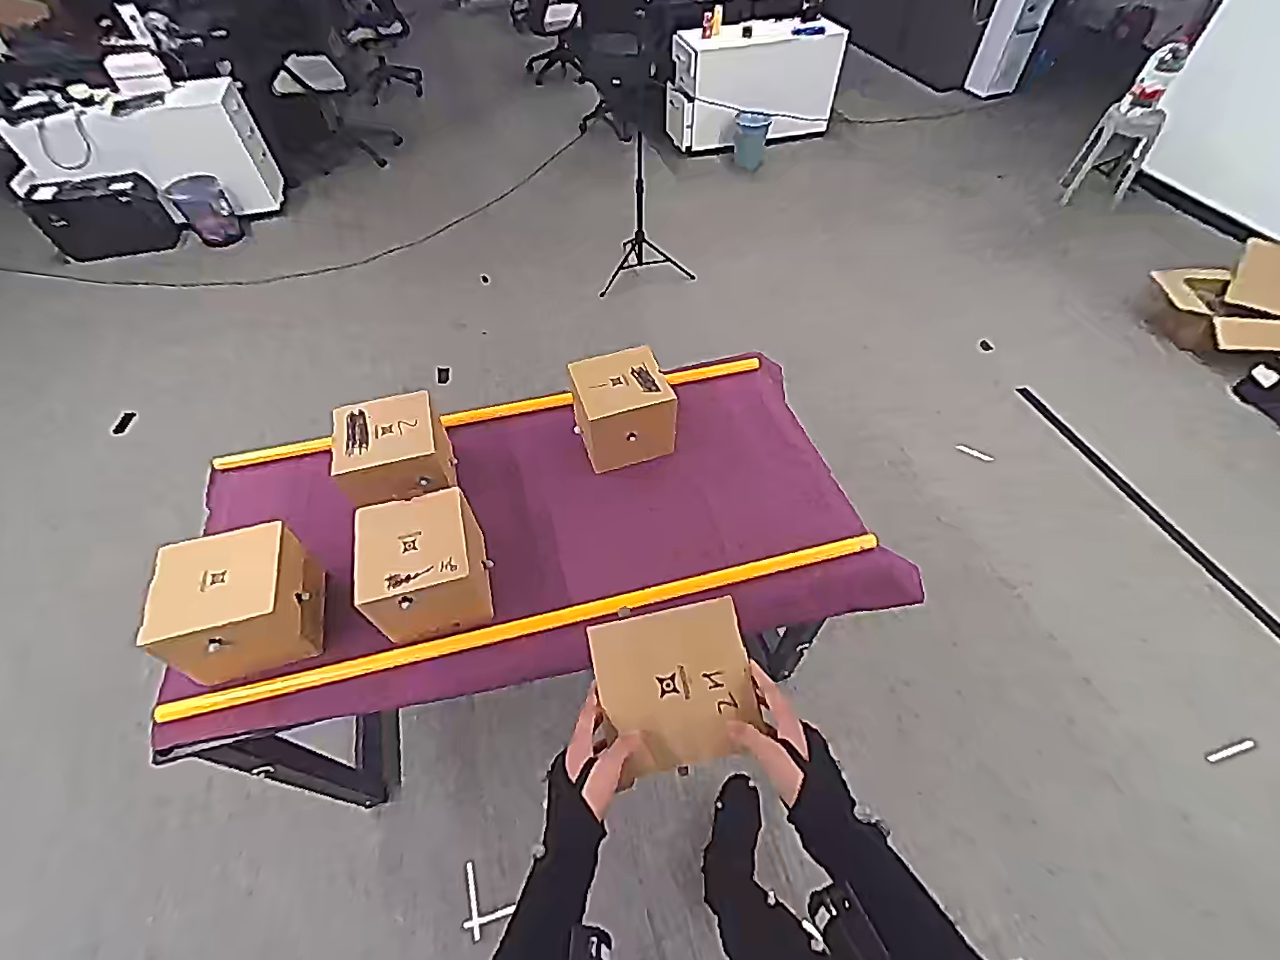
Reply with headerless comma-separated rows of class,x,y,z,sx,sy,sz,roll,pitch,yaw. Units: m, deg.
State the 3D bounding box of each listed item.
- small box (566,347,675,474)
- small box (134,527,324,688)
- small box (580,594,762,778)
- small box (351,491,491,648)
small box,-0.040,-0.139,1.105,0.179,0.176,0.168,-16,55,-10
small box,-0.626,0.204,0.855,0.179,0.176,0.168,-14,53,-11
small box,0.034,0.250,0.673,0.179,0.176,0.168,-12,72,-3
small box,-0.353,0.149,0.892,0.168,0.176,0.179,-14,53,-9
